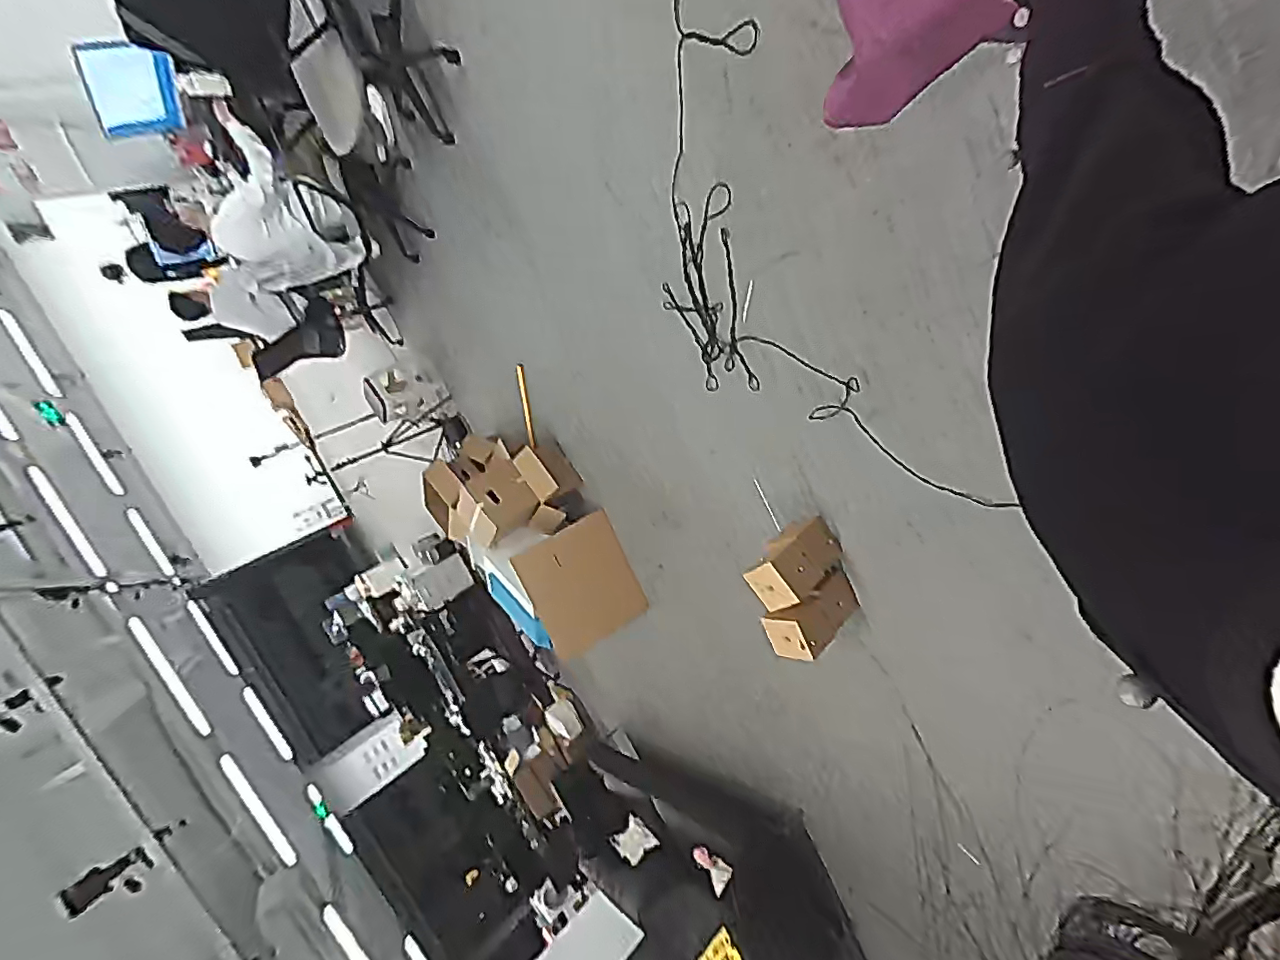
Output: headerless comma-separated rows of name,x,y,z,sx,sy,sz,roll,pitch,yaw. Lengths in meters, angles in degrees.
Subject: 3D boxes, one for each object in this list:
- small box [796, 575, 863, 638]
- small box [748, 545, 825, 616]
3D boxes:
small box,0.711,0.470,2.052,0.168,0.176,0.179,-15,104,56
small box,0.523,0.352,1.907,0.168,0.176,0.179,54,147,7
